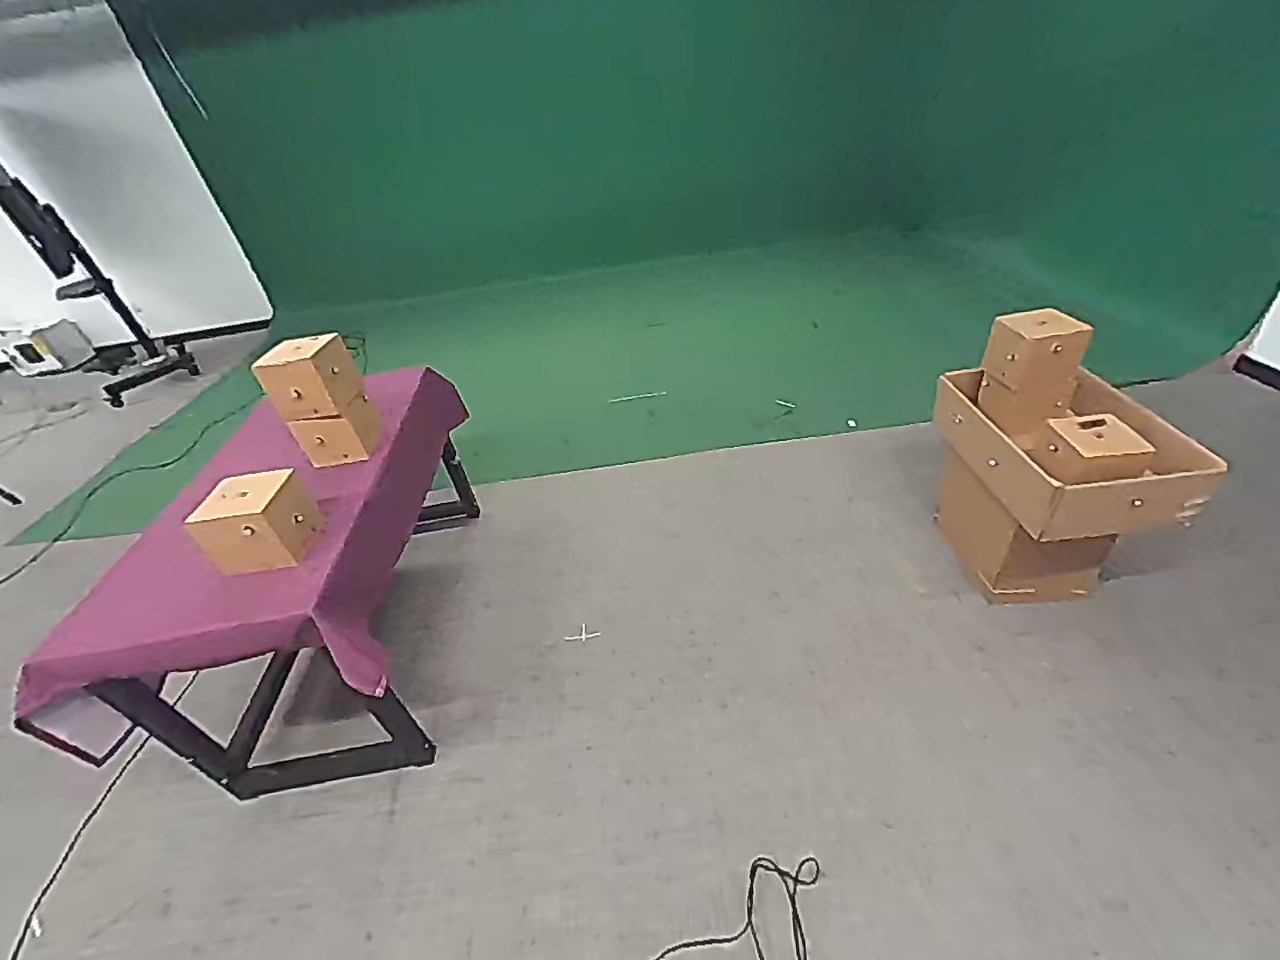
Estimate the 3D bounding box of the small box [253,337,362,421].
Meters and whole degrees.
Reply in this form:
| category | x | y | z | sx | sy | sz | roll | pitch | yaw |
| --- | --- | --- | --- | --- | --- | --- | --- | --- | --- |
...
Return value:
| category | x | y | z | sx | sy | sz | roll | pitch | yaw |
| --- | --- | --- | --- | --- | --- | --- | --- | --- | --- |
| small box | -0.910 | -0.275 | 1.503 | 0.168 | 0.176 | 0.179 | -7 | 37 | 5 |

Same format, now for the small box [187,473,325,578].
| category | x | y | z | sx | sy | sz | roll | pitch | yaw |
| --- | --- | --- | --- | --- | --- | --- | --- | --- | --- |
| small box | -0.882 | 0.109 | 1.266 | 0.179 | 0.176 | 0.168 | -9 | 36 | 2 |

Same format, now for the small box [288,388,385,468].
| category | x | y | z | sx | sy | sz | roll | pitch | yaw |
| --- | --- | --- | --- | --- | --- | --- | --- | --- | --- |
| small box | -0.890 | -0.149 | 1.608 | 0.168 | 0.176 | 0.179 | -10 | 37 | 1 |

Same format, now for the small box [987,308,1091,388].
| category | x | y | z | sx | sy | sz | roll | pitch | yaw |
| --- | --- | --- | --- | --- | --- | --- | --- | --- | --- |
| small box | 1.154 | -0.385 | 1.586 | 0.179 | 0.176 | 0.168 | -9 | 38 | 0 |
